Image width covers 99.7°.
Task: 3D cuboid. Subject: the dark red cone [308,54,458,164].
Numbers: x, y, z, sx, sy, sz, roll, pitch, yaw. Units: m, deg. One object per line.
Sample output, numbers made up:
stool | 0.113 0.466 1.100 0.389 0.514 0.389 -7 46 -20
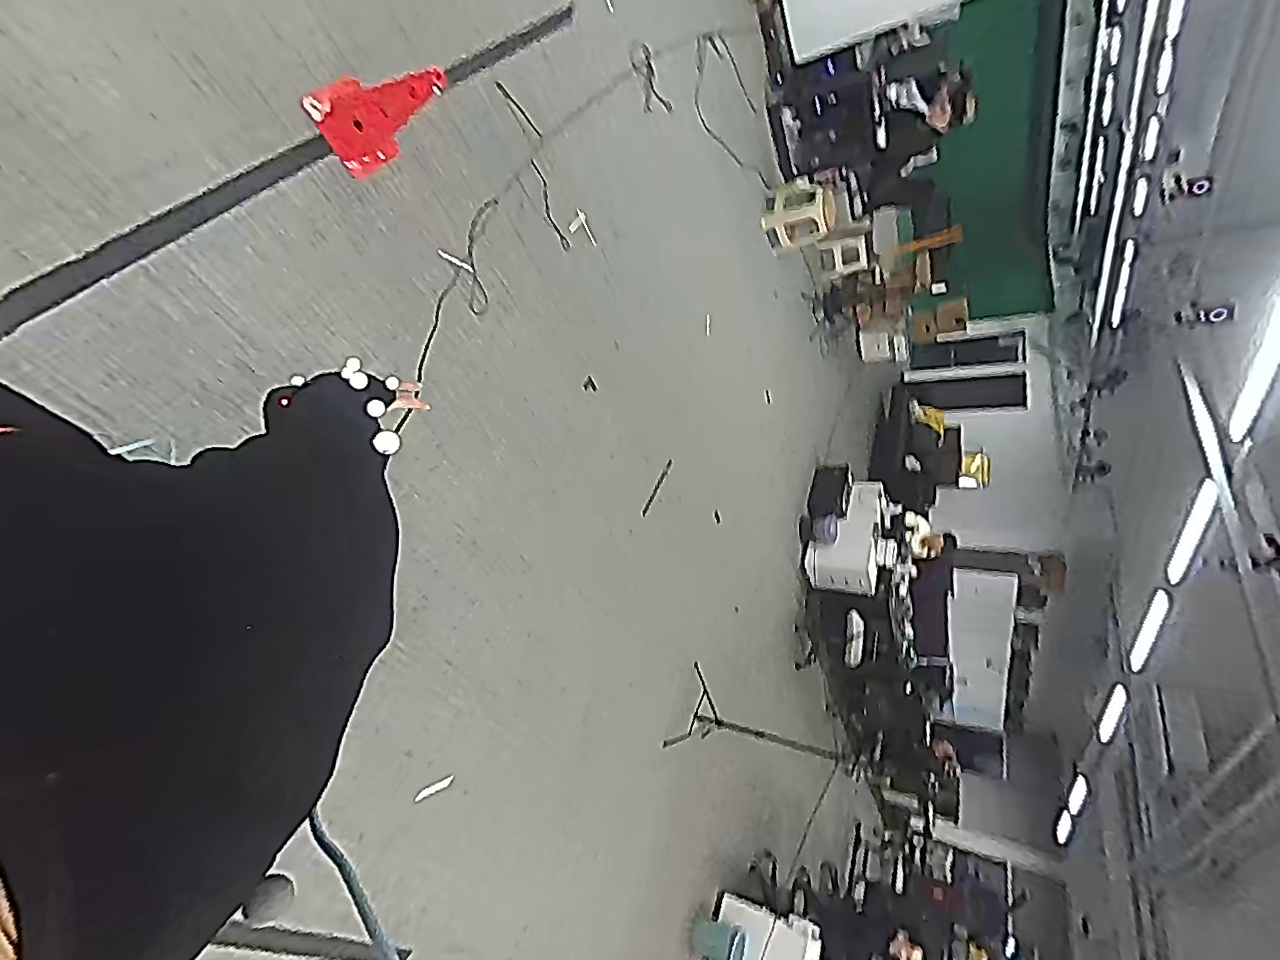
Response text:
dark red cone | -0.598 -0.955 1.330 0.201 0.394 0.202 61 43 -41
